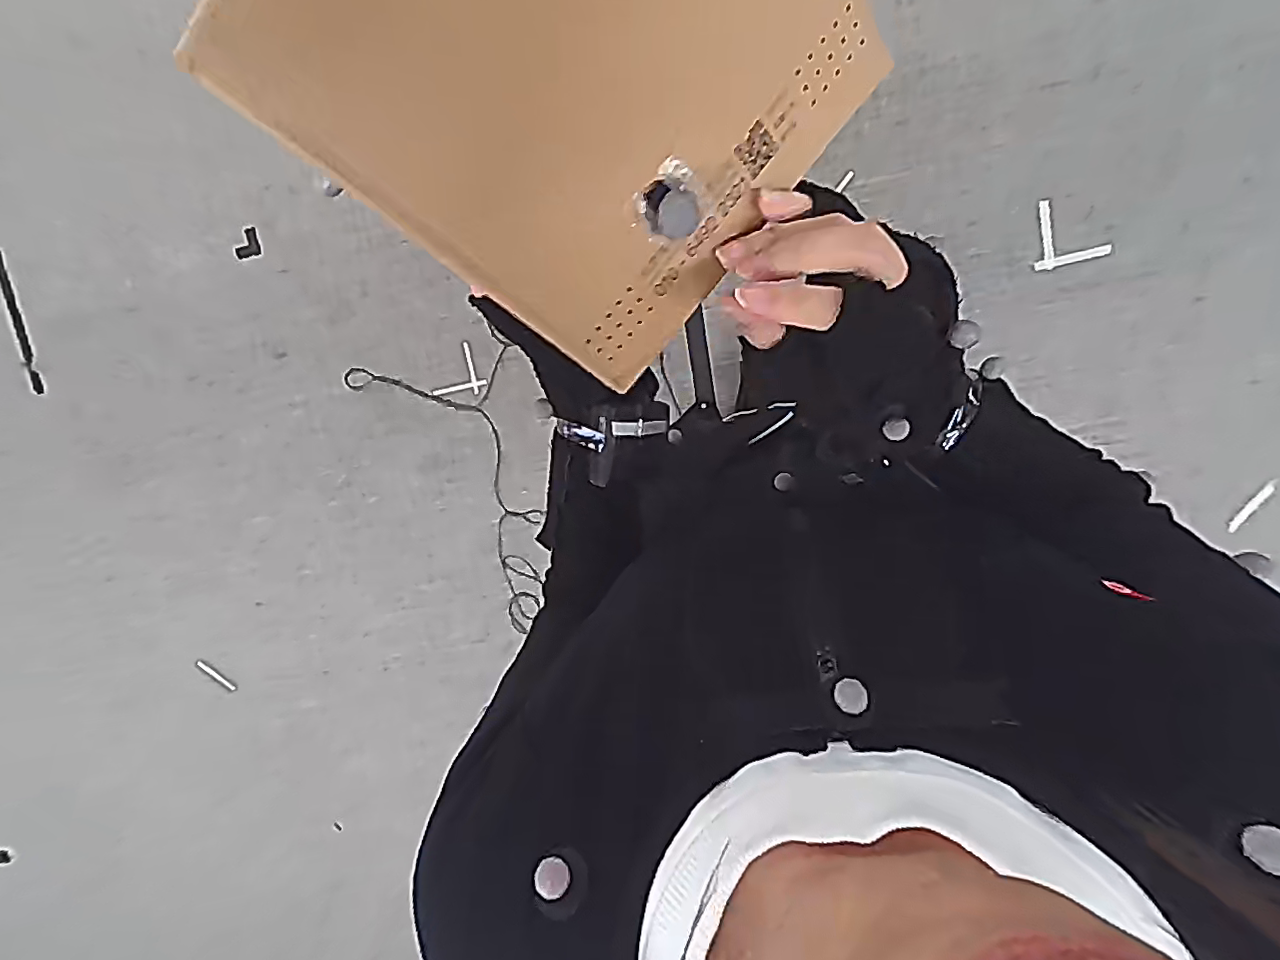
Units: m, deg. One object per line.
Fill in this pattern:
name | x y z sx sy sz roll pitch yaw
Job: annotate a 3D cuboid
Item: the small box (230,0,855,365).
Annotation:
small box | -0.042 -0.181 0.251 0.176 0.179 0.168 31 105 -40
